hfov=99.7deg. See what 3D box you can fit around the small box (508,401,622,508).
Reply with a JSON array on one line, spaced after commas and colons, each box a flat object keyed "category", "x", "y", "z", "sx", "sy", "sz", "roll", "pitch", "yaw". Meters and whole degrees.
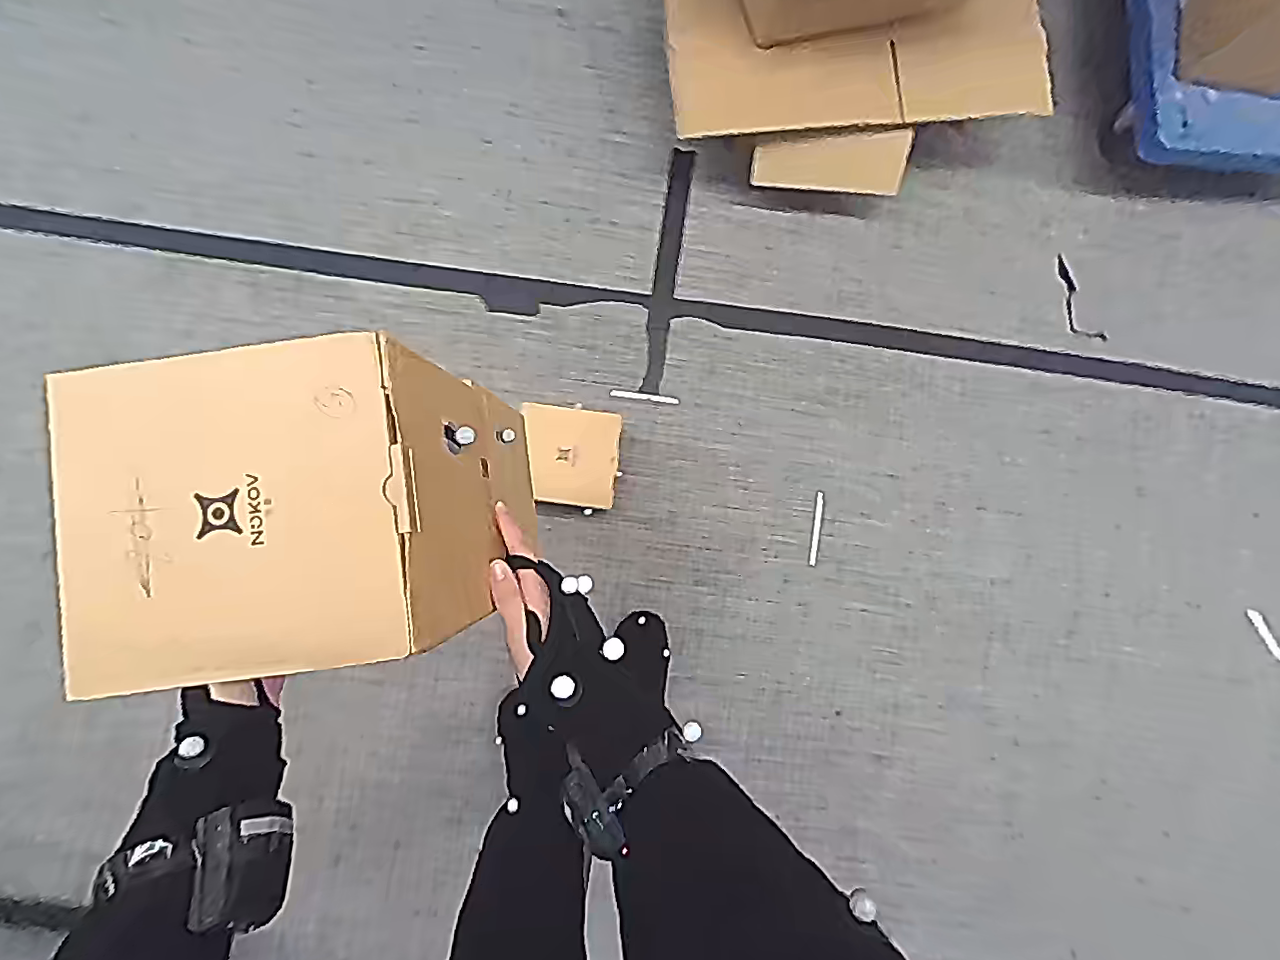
[{"category": "small box", "x": -0.131, "y": -0.039, "z": 0.992, "sx": 0.179, "sy": 0.176, "sz": 0.168, "roll": 6, "pitch": 87, "yaw": -4}]
